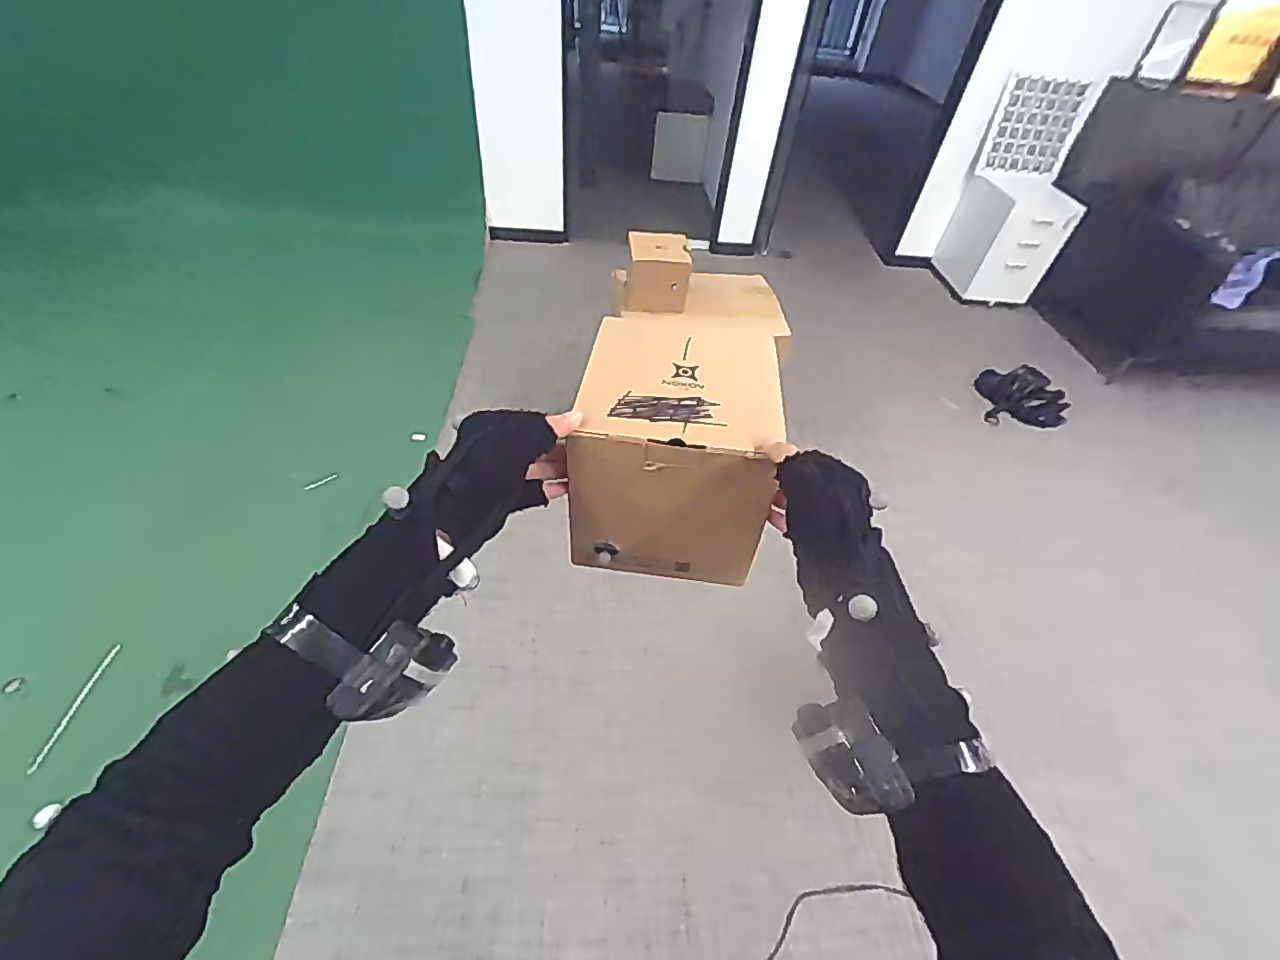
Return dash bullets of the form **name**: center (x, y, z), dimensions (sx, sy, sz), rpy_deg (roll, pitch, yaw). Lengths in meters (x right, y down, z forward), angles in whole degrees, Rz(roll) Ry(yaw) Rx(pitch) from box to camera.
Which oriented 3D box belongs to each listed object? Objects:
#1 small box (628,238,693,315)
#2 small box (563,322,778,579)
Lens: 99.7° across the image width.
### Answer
- **small box**: center (0.057, -0.621, 1.662), dimensions (0.179, 0.176, 0.168), rpy_deg (-2, 50, -6)
- **small box**: center (0.029, -0.027, 0.517), dimensions (0.168, 0.176, 0.179), rpy_deg (7, 44, 3)
